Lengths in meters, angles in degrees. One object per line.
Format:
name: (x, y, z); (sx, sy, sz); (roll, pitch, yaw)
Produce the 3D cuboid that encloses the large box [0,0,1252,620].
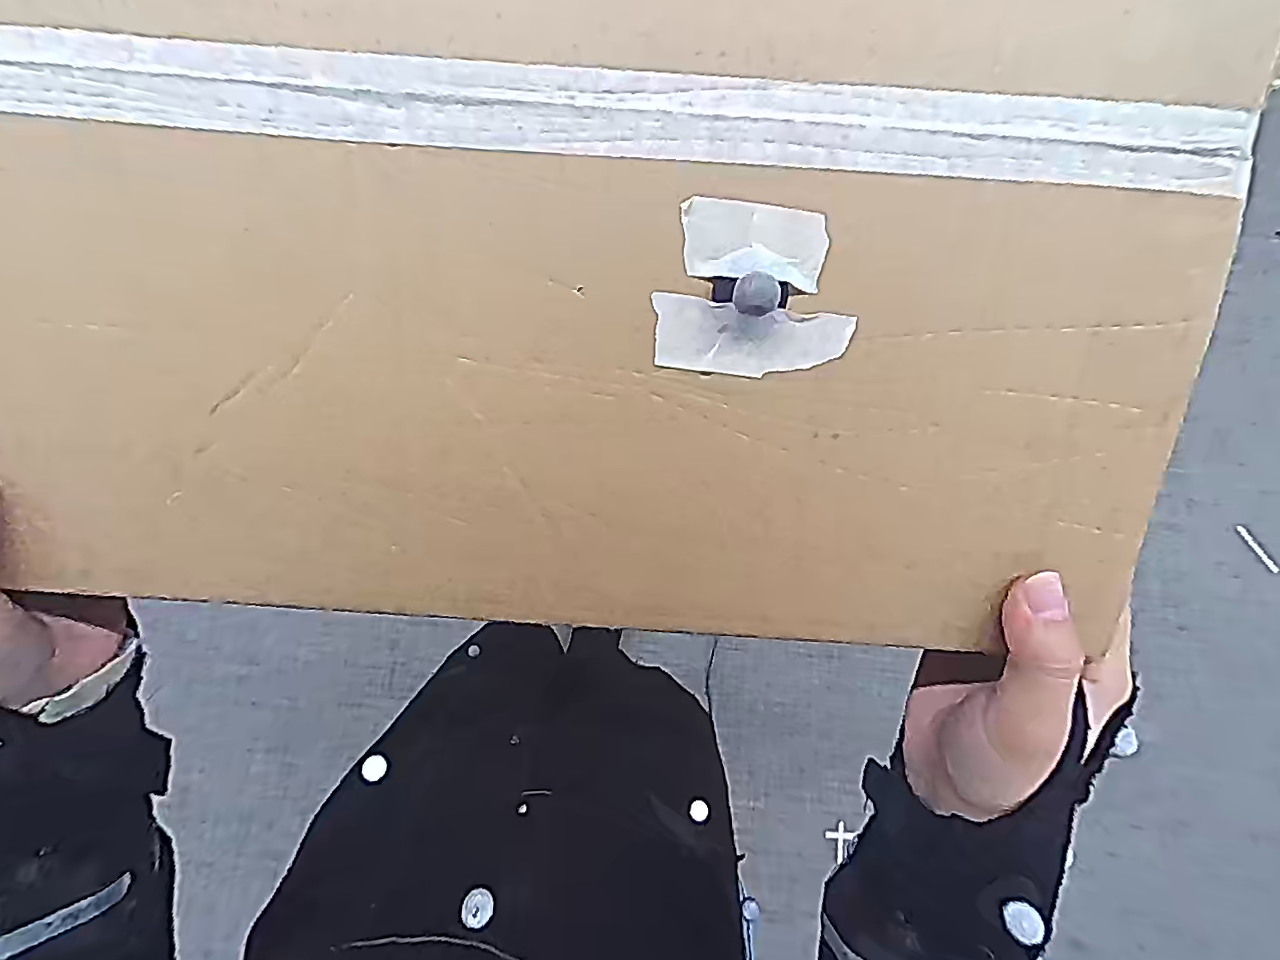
large box: (-0.028, -0.136, 0.310); (0.408, 0.320, 0.320); (3, 103, -1)
